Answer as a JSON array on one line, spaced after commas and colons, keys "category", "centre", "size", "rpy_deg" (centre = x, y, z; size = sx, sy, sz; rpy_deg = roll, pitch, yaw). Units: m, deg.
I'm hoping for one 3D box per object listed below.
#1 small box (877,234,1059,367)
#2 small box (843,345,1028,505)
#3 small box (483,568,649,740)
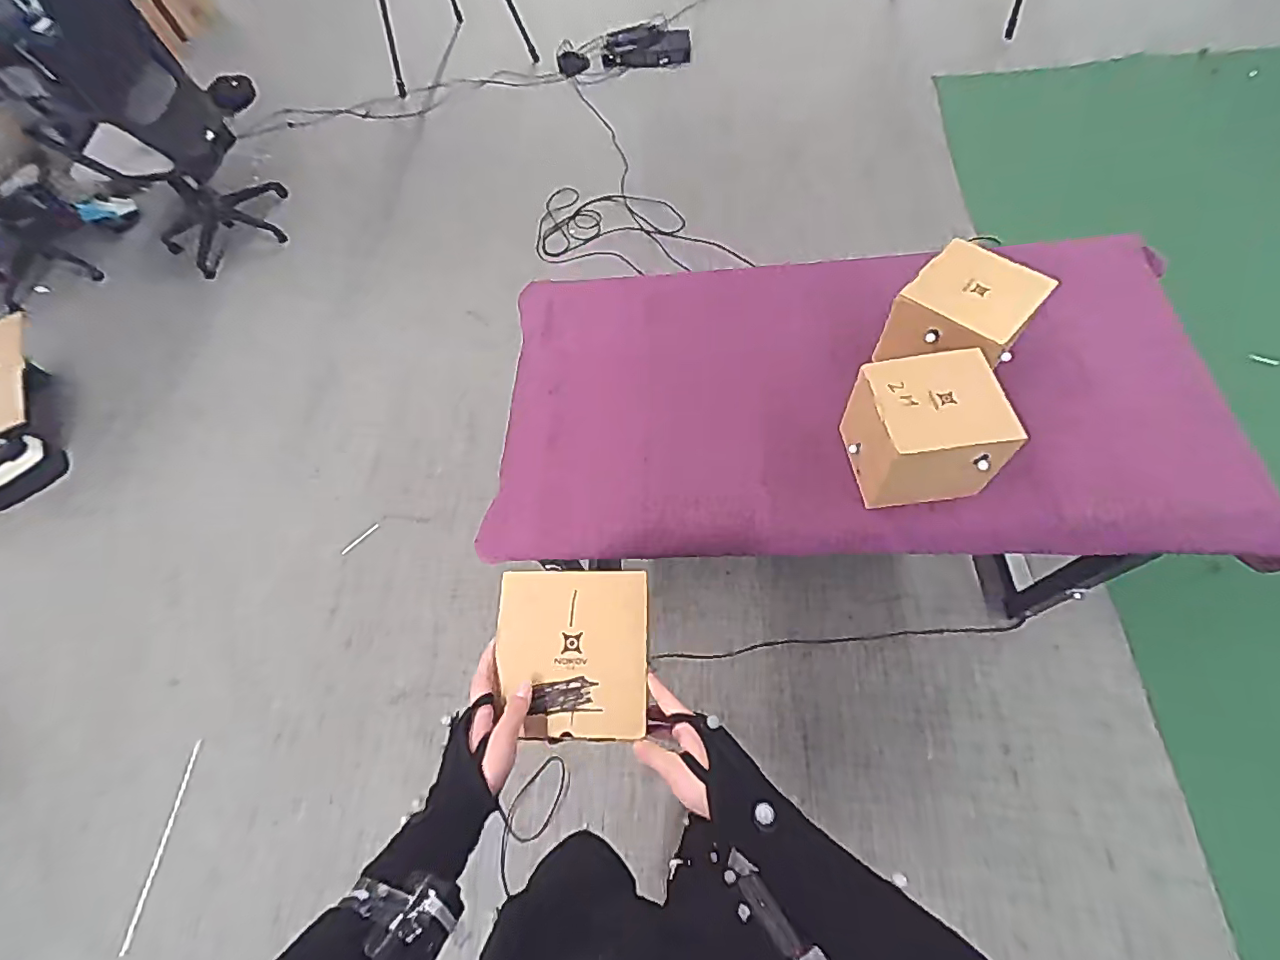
[{"category": "small box", "centre": [0.536, -0.266, 0.910], "size": [0.179, 0.176, 0.168], "rpy_deg": [39, 75, 25]}, {"category": "small box", "centre": [0.430, -0.077, 0.822], "size": [0.179, 0.176, 0.168], "rpy_deg": [-8, 60, 4]}, {"category": "small box", "centre": [-0.075, 0.207, 0.651], "size": [0.168, 0.176, 0.179], "rpy_deg": [-1, 69, 3]}]
